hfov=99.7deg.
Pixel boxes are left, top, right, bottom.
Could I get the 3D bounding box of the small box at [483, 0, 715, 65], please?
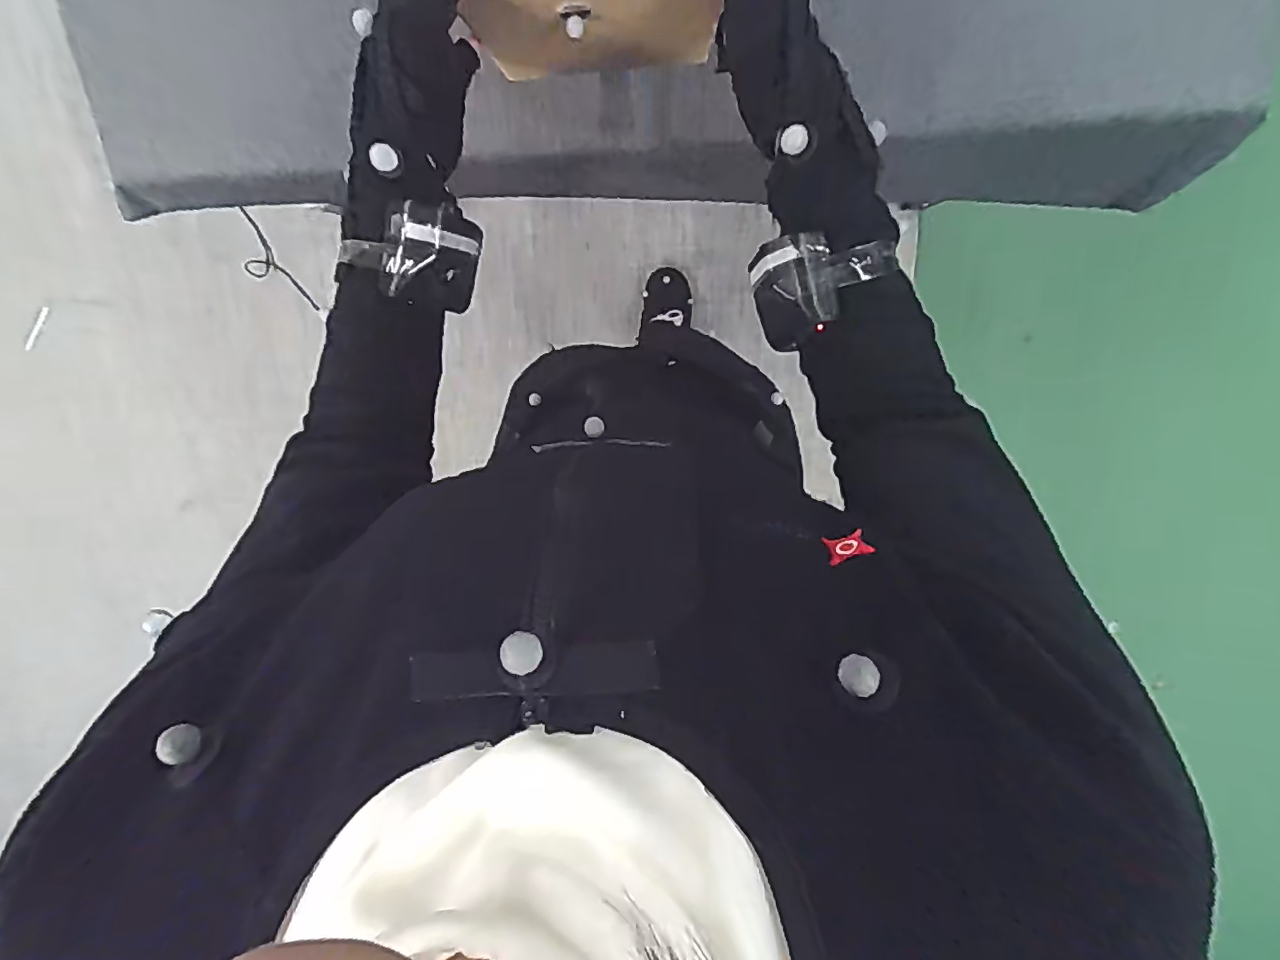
[{"bbox_3d":[-0.034,-0.416,0.372,0.179,0.176,0.168,-3,112,3],"label":"small box"}]
